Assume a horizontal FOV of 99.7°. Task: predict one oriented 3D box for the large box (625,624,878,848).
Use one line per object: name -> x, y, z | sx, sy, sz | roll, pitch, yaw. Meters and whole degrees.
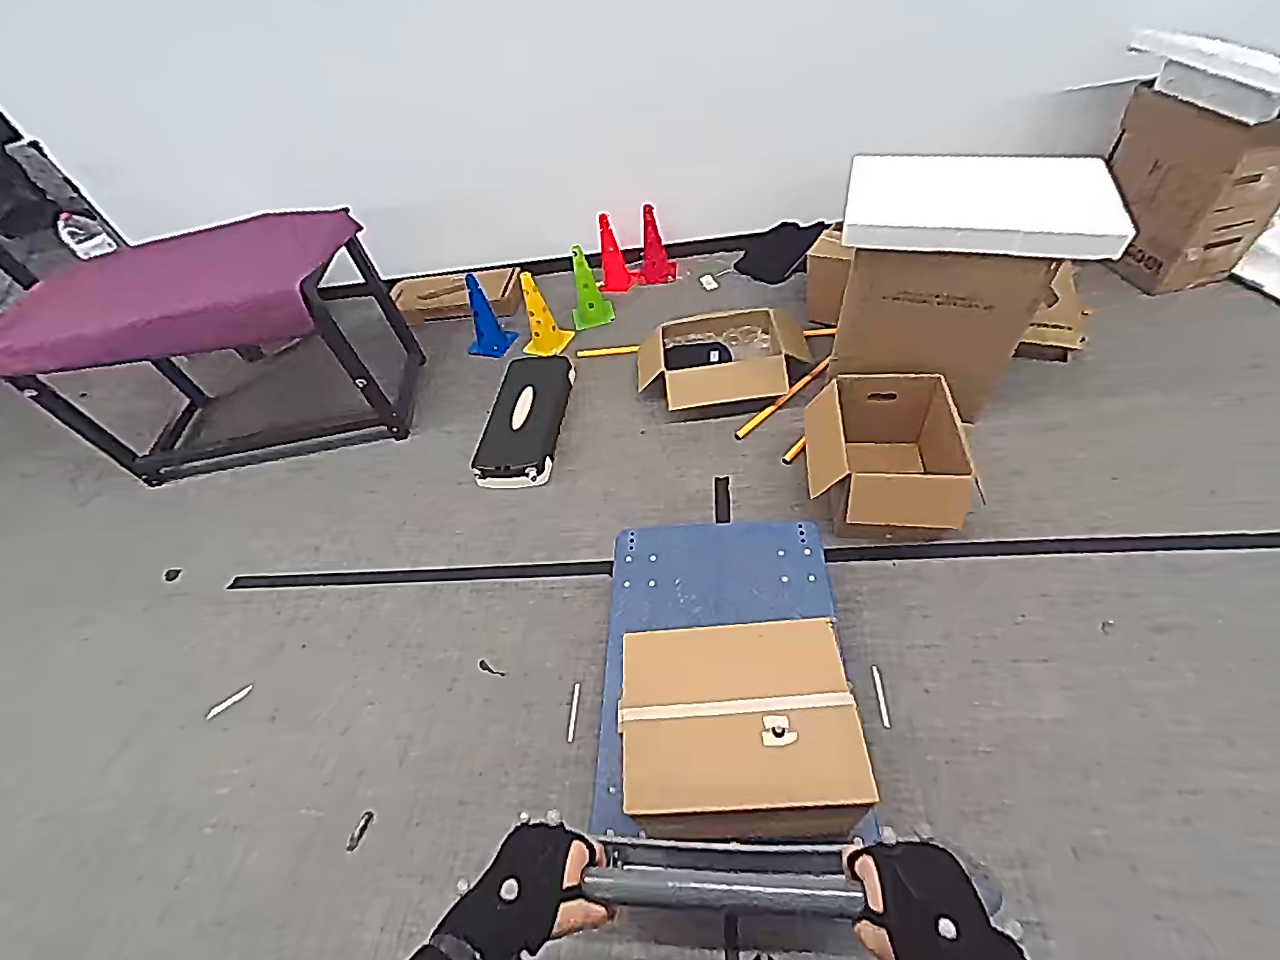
large box -> 0.189, 0.511, 1.067 | 0.408, 0.320, 0.320 | -6, 50, 4
